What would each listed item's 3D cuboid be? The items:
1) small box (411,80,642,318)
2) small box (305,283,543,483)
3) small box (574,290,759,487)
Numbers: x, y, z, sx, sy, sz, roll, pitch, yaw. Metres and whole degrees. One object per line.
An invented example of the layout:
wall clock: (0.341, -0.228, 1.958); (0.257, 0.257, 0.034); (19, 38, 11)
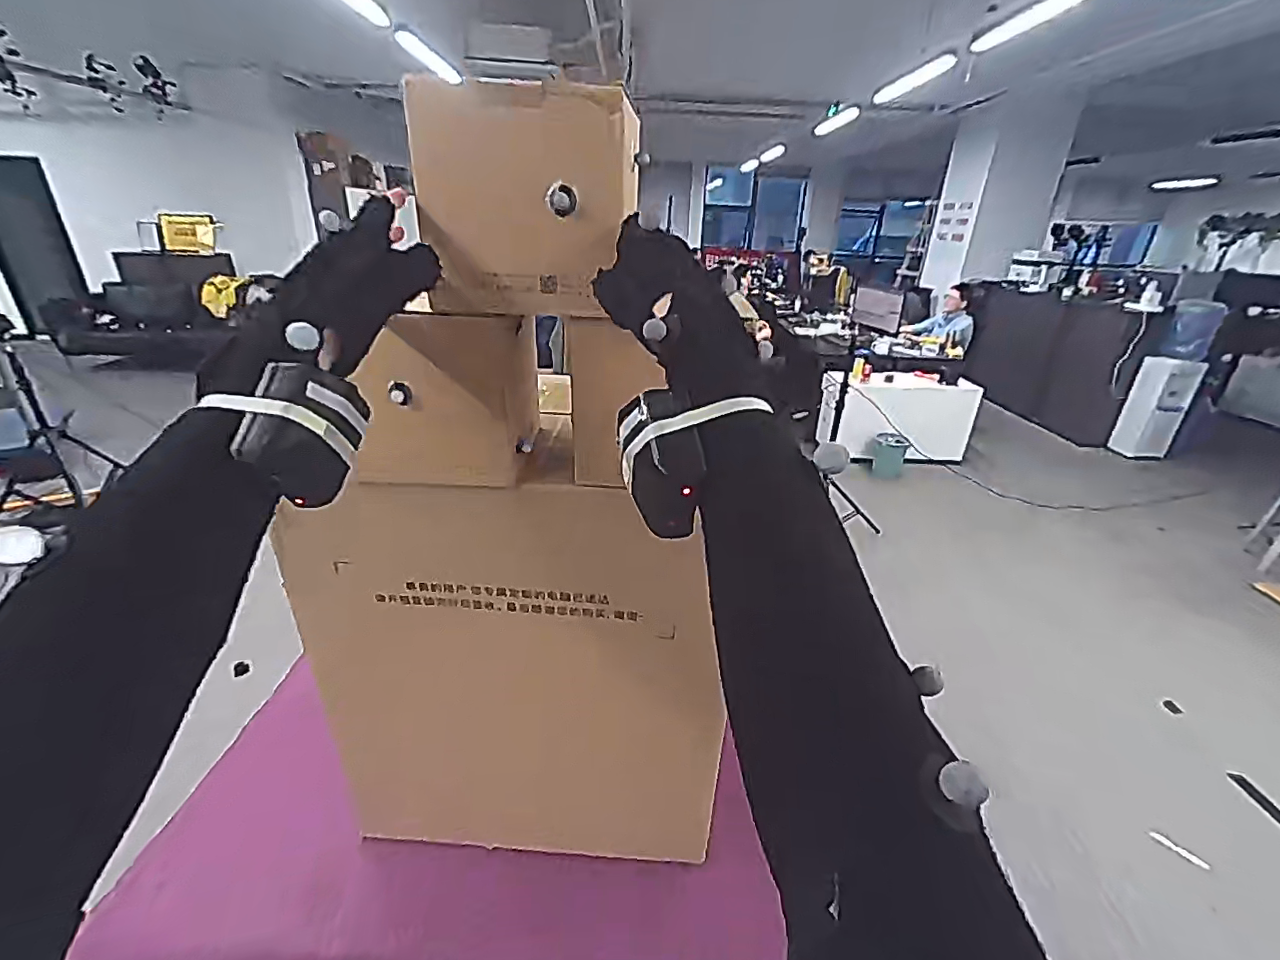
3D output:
small box: (-0.086, -0.250, 0.503); (0.168, 0.176, 0.179); (4, 25, 1)
small box: (-0.202, -0.105, 0.568); (0.179, 0.176, 0.168); (1, 26, 0)
small box: (0.027, -0.103, 0.579); (0.168, 0.176, 0.179); (4, 27, 2)
